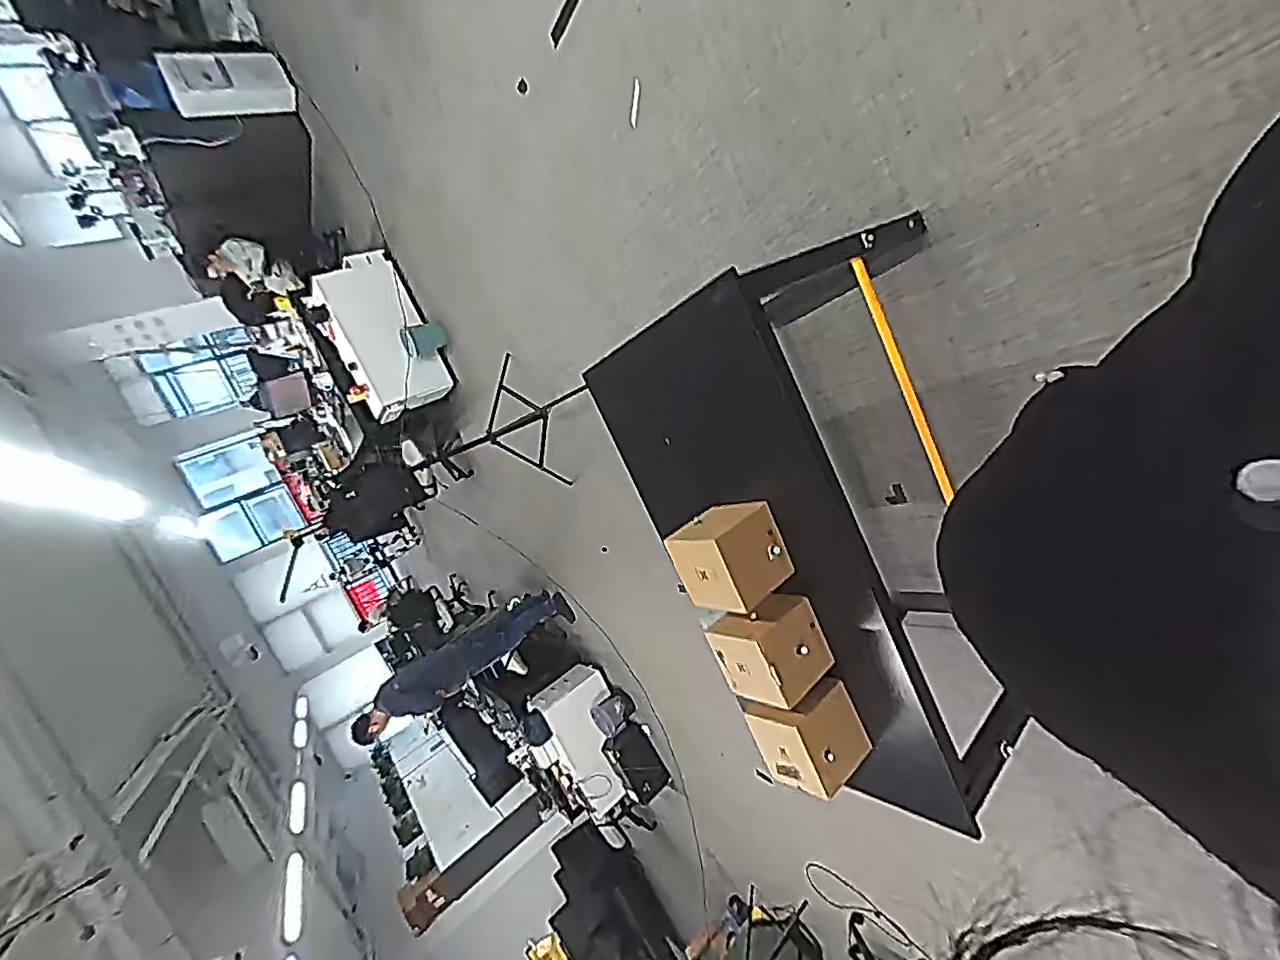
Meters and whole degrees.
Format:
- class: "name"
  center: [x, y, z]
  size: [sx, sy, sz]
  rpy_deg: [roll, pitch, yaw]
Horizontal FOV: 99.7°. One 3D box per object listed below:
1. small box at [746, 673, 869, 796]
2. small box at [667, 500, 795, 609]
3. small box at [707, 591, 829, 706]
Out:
- class: "small box"
  center: [0.378, 0.552, 1.209]
  size: [0.168, 0.176, 0.179]
  rpy_deg: [-18, 98, 58]
- class: "small box"
  center: [0.195, 0.154, 1.155]
  size: [0.179, 0.176, 0.168]
  rpy_deg: [-13, 105, 57]
- class: "small box"
  center: [0.287, 0.358, 1.185]
  size: [0.179, 0.176, 0.168]
  rpy_deg: [-14, 103, 57]
